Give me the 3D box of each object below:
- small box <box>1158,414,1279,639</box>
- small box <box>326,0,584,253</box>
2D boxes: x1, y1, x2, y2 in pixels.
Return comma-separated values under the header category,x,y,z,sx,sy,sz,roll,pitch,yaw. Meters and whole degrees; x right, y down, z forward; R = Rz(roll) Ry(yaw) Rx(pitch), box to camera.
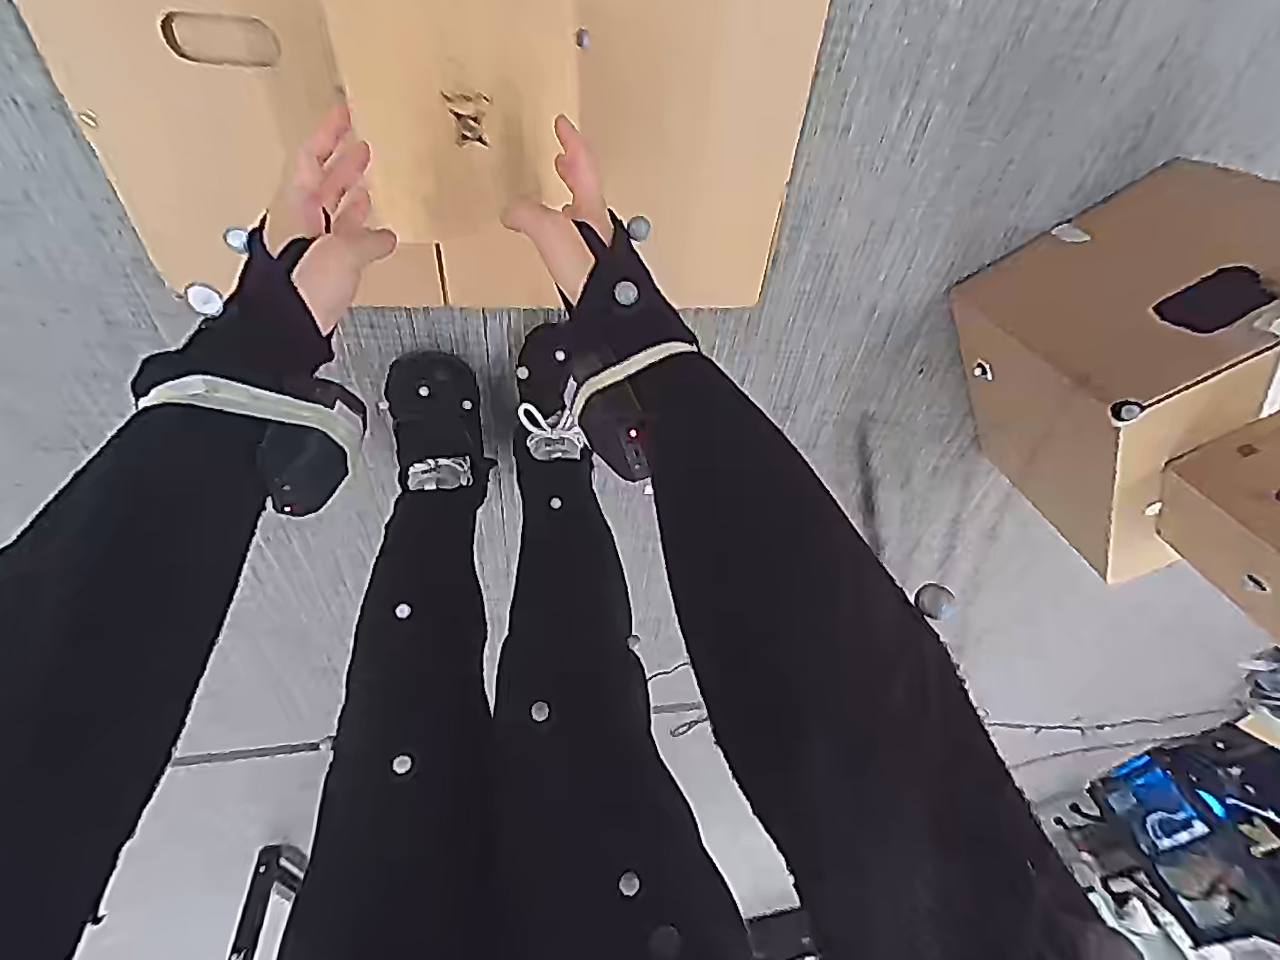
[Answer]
category,x,y,z,sx,sy,sz,roll,pitch,yaw
small box,0.719,0.038,0.586,0.168,0.176,0.179,-31,133,17
small box,-0.138,-0.316,0.464,0.168,0.176,0.179,-6,135,-9
